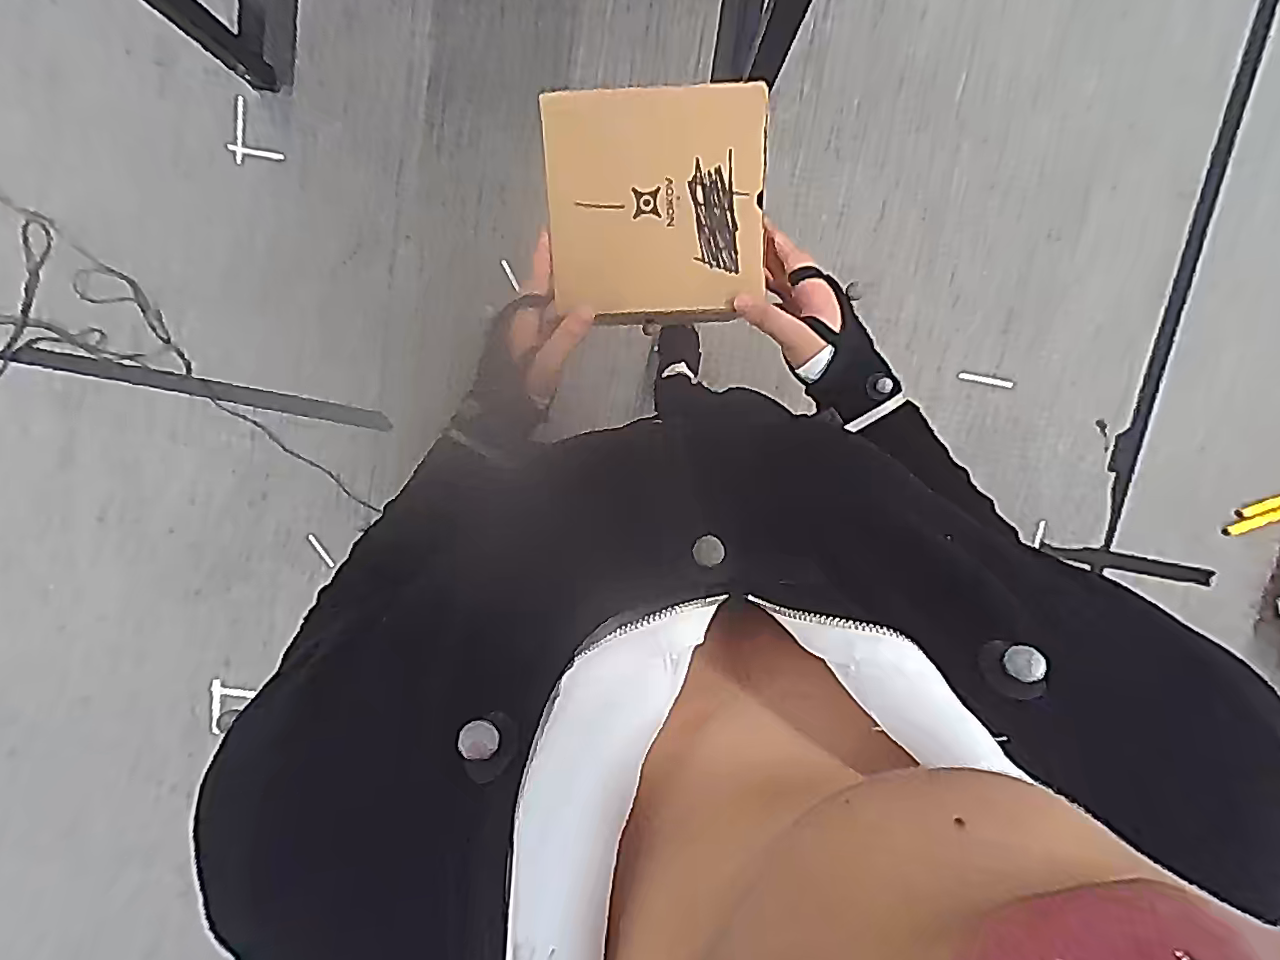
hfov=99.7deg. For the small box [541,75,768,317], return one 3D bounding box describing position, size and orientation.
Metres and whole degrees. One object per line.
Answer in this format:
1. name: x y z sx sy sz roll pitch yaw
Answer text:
1. small box: 0.012 -0.244 0.505 0.179 0.176 0.168 -2 103 0
